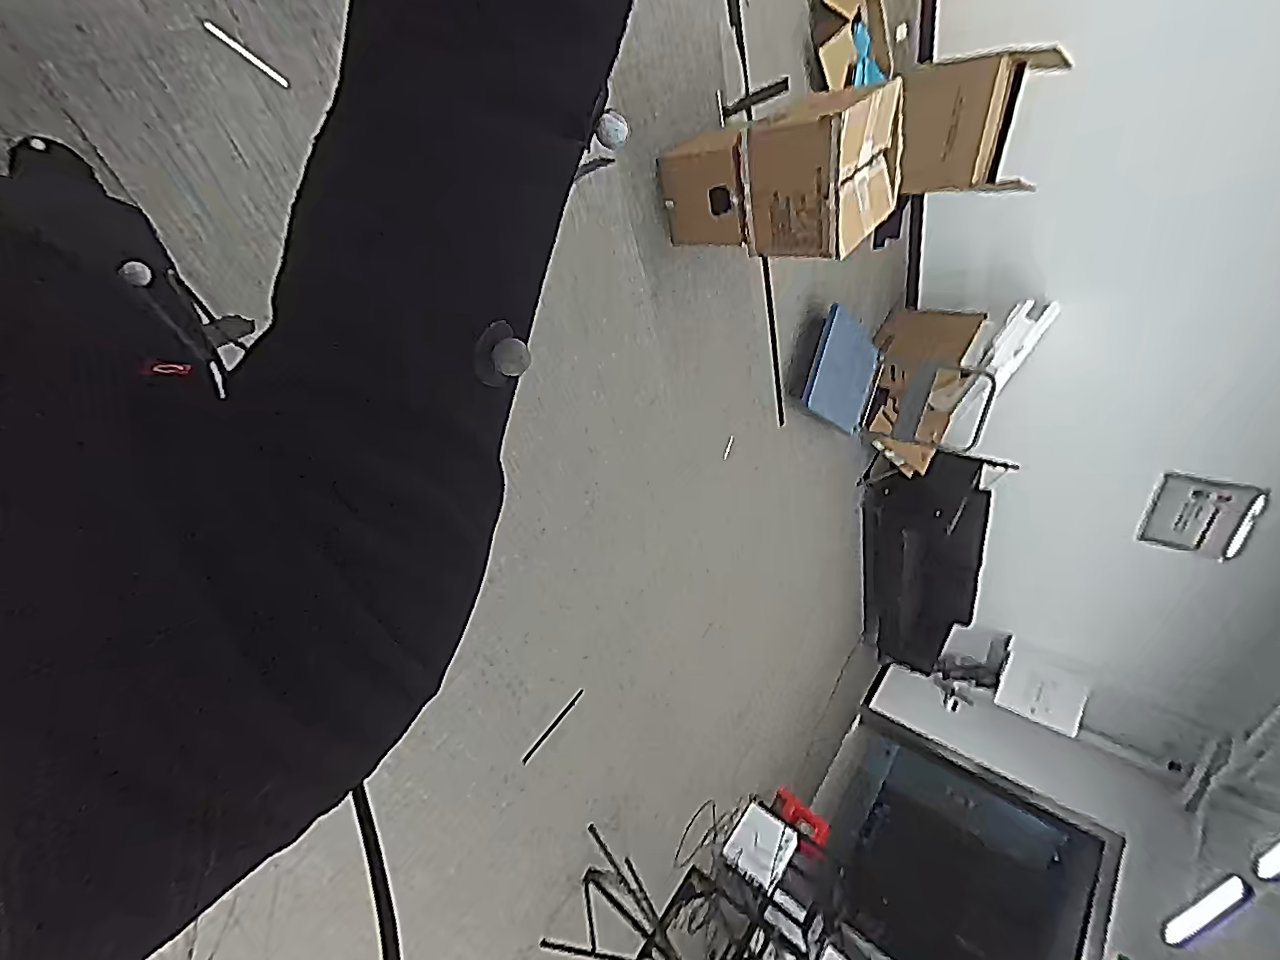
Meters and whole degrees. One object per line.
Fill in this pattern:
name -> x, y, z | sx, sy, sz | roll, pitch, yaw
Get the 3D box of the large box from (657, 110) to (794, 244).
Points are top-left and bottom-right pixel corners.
large box -> 0.324, -1.100, 1.977 | 0.408, 0.320, 0.320 | -44, 135, -29
